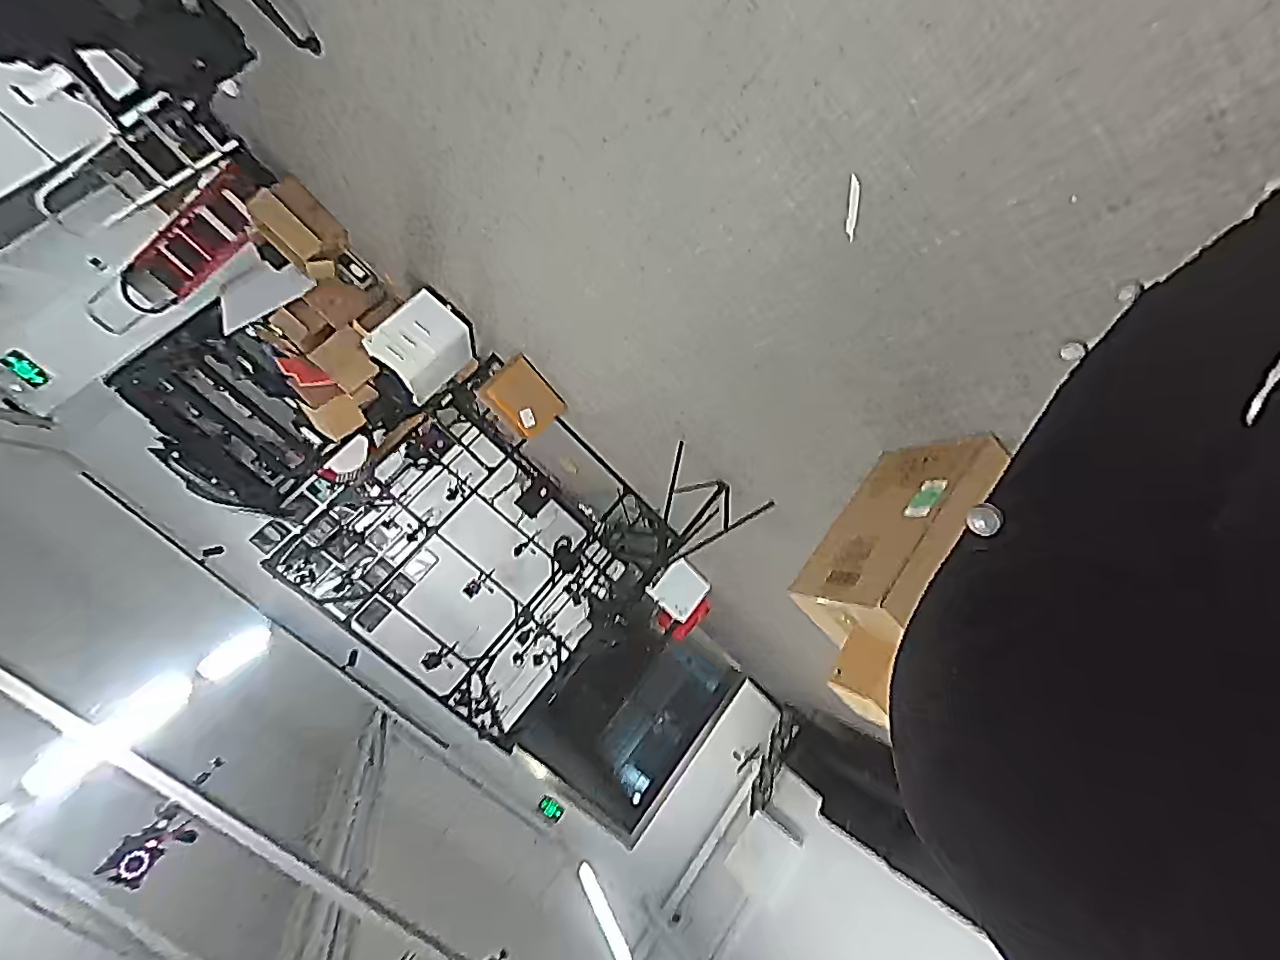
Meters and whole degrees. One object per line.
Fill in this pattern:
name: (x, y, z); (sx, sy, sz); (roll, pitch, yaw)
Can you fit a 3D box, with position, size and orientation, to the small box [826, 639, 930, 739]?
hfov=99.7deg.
small box: (0.654, 0.560, 1.474); (0.168, 0.176, 0.179); (45, 163, -14)
